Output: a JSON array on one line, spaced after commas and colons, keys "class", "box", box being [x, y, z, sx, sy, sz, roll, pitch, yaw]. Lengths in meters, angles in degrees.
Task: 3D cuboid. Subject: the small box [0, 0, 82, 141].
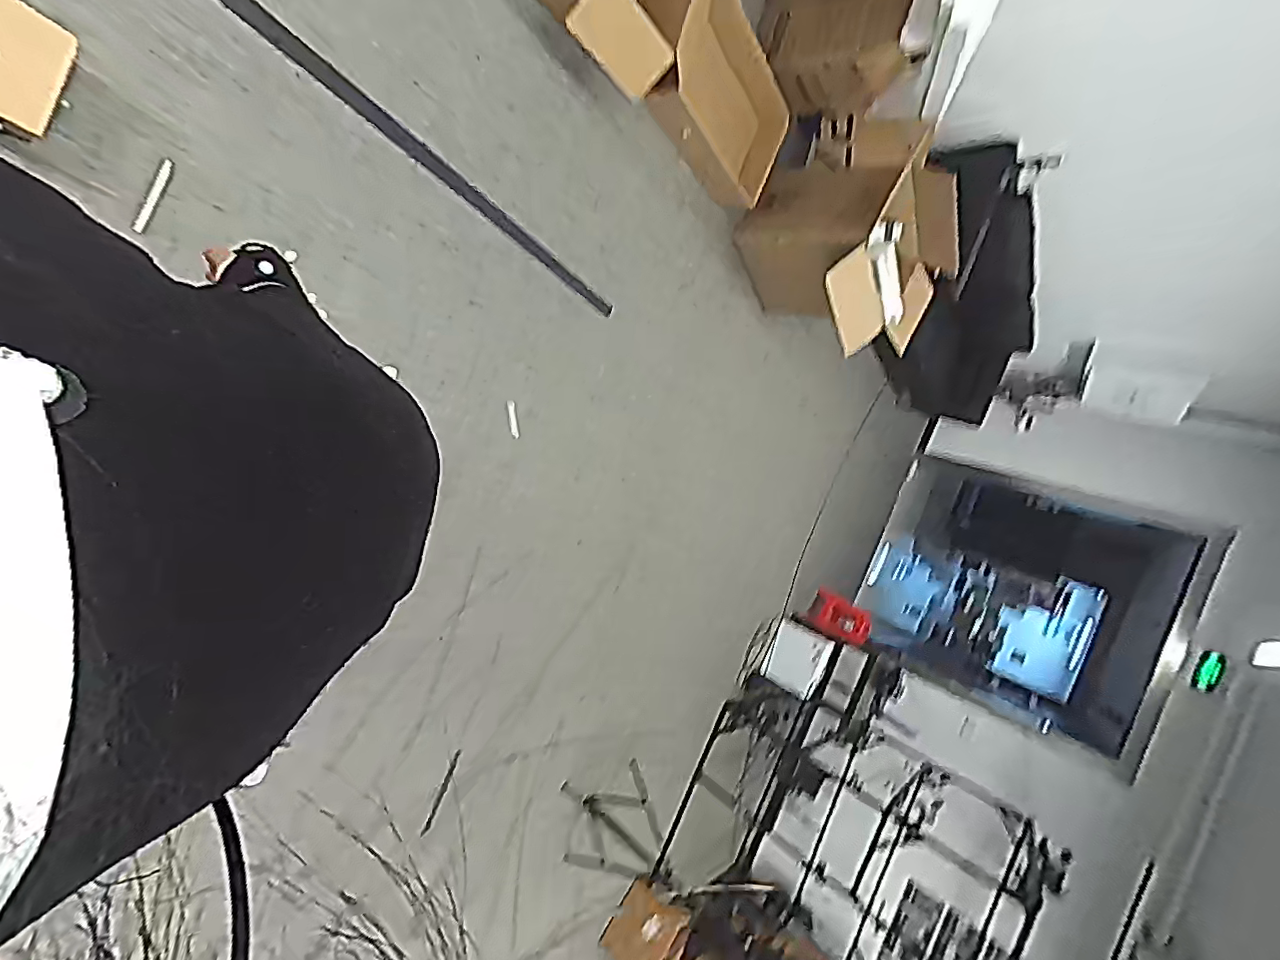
[{"class": "small box", "box": [-1.000, -0.645, 0.815, 0.179, 0.176, 0.168, 24, 89, -53]}]
